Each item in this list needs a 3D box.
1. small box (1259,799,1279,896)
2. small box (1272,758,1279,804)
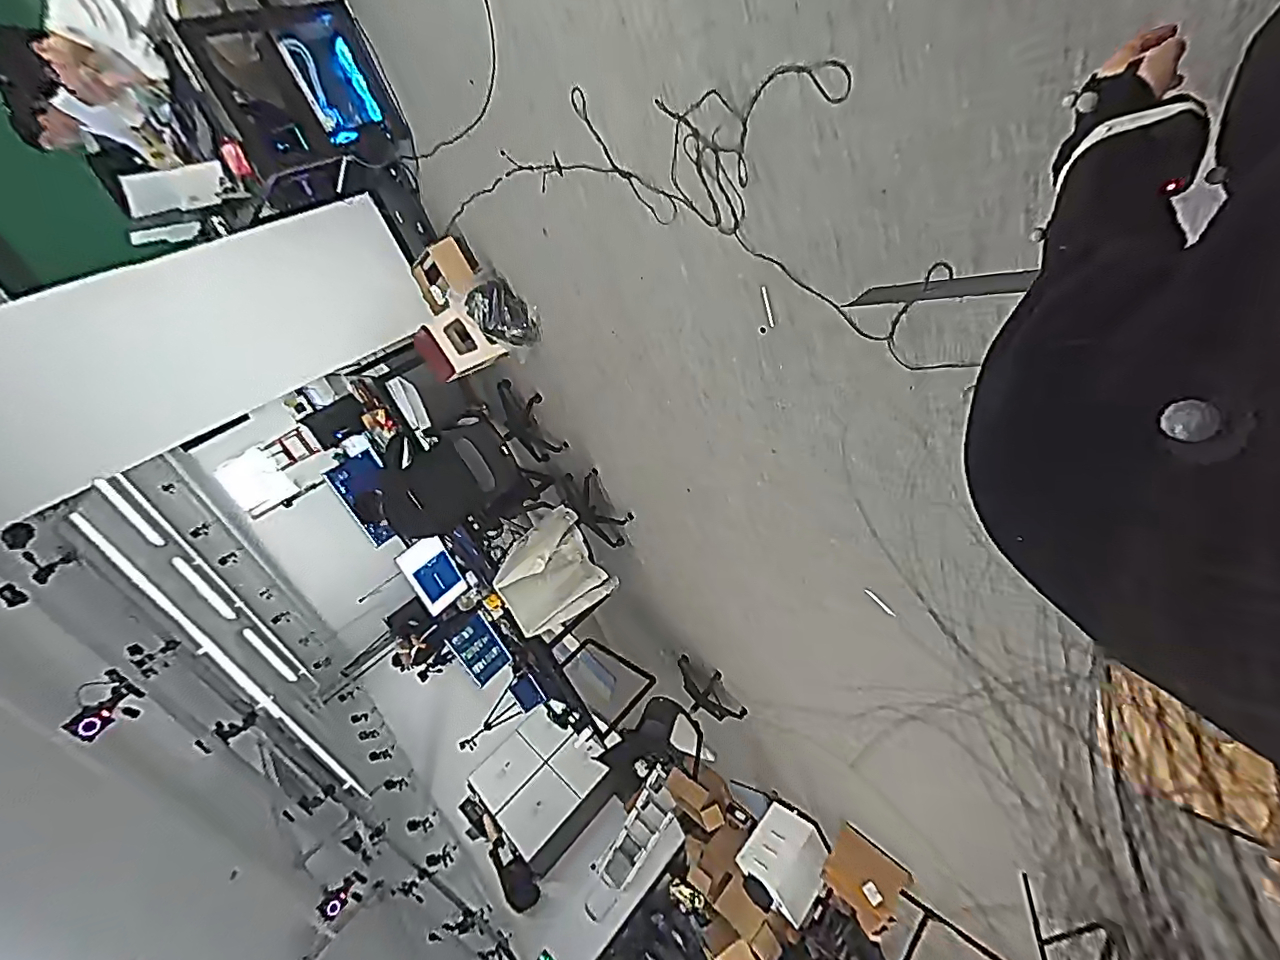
[{"bbox_3d":[1.652,0.933,1.317,0.168,0.176,0.179,8,131,52],"label":"small box"},{"bbox_3d":[1.764,0.839,1.393,0.168,0.176,0.179,10,132,51],"label":"small box"}]
